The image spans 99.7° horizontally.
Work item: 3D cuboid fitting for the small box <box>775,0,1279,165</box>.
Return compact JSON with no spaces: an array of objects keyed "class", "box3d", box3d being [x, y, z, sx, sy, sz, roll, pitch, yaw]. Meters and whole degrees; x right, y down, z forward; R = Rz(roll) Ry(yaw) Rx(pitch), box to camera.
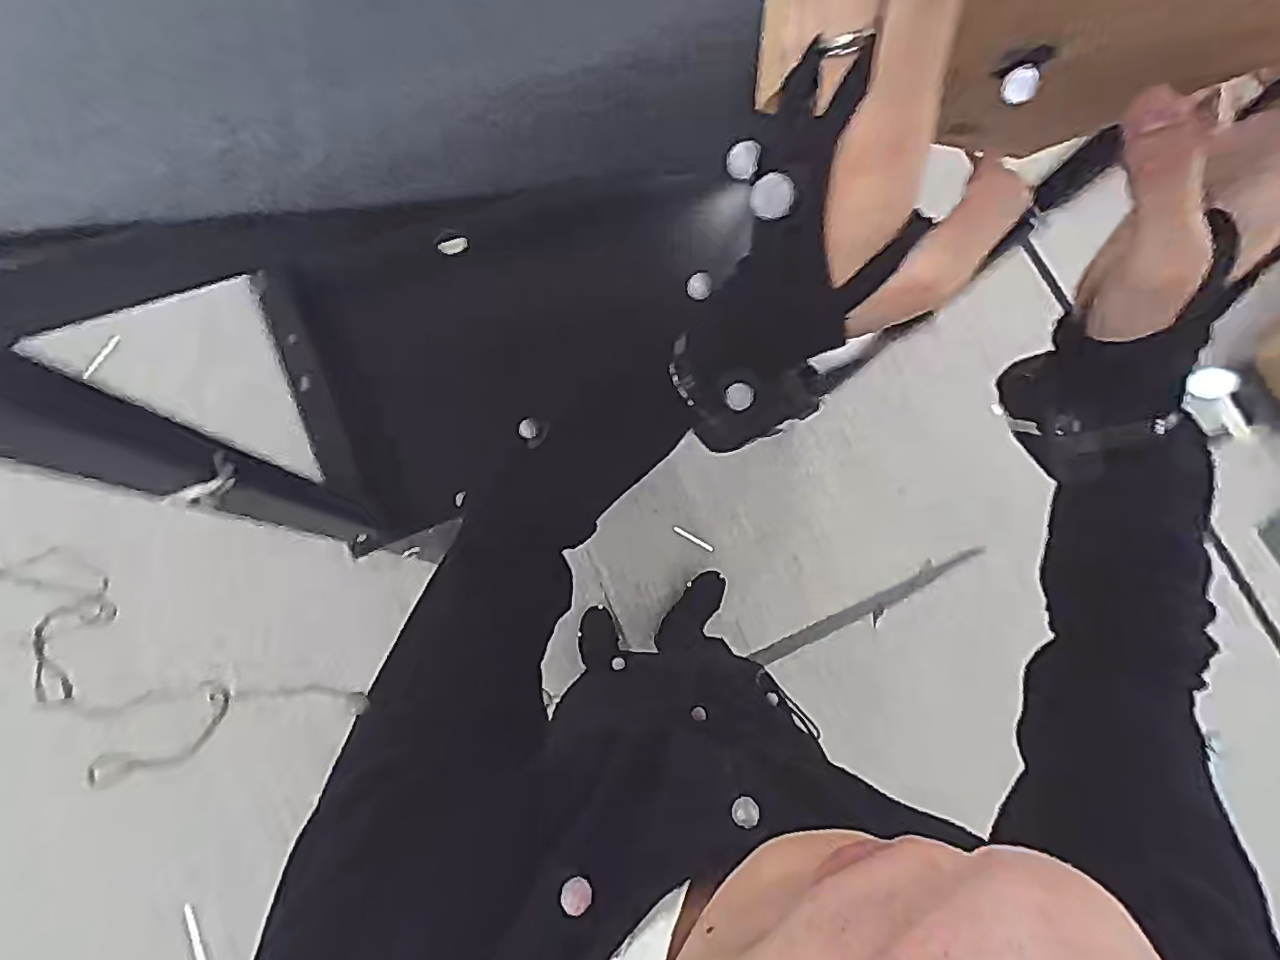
[{"class":"small box","box3d":[0.164,-0.240,0.194,0.168,0.176,0.179,1,102,-14]}]
